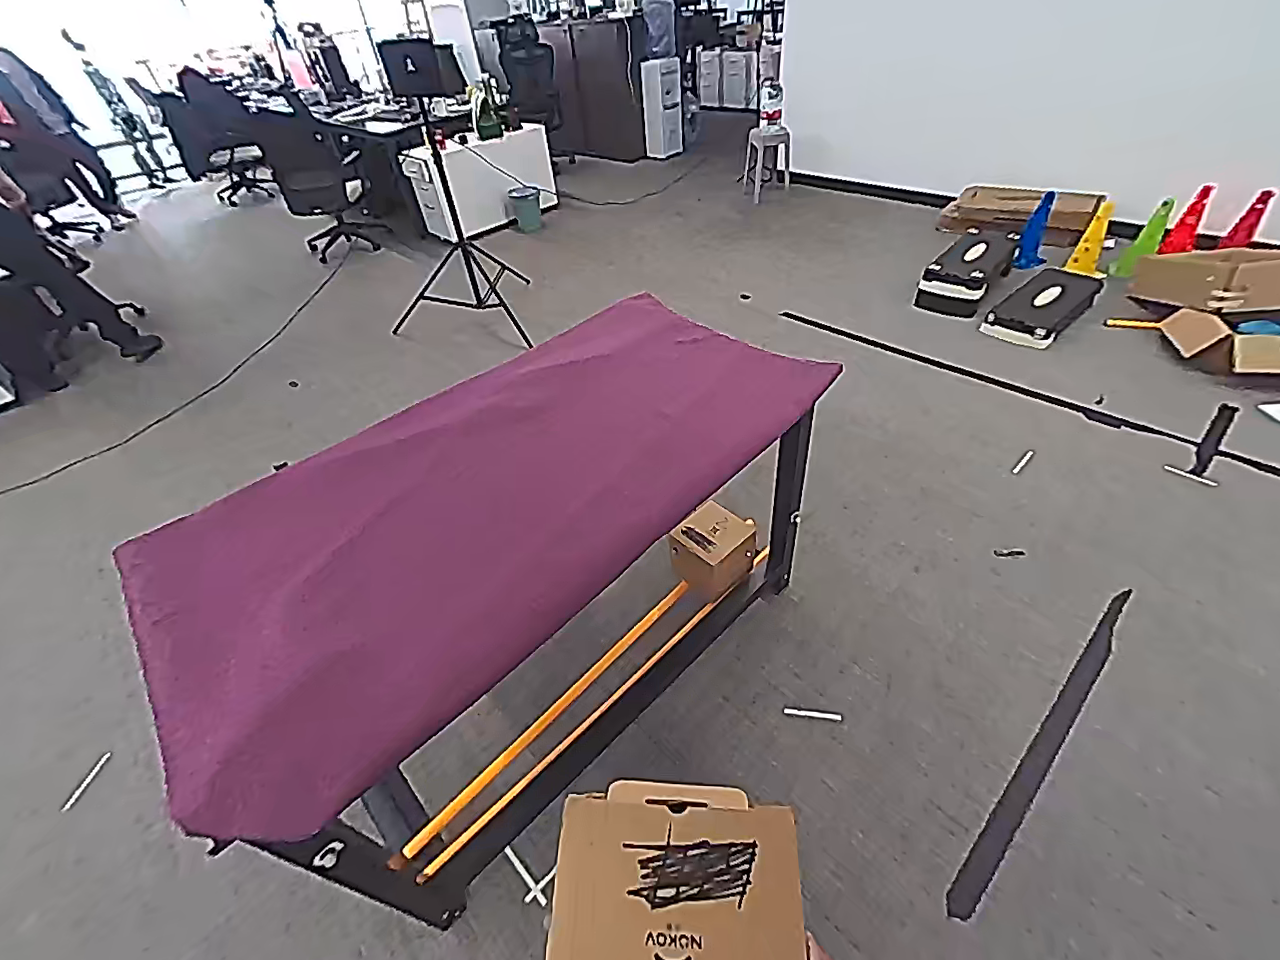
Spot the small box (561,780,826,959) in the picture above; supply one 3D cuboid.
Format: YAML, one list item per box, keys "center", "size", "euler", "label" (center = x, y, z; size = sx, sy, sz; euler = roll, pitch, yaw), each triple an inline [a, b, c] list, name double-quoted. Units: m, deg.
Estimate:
- center: [0.037, 0.341, 0.398]
  size: [0.168, 0.176, 0.179]
  euler: [0, 50, 5]
  label: "small box"
